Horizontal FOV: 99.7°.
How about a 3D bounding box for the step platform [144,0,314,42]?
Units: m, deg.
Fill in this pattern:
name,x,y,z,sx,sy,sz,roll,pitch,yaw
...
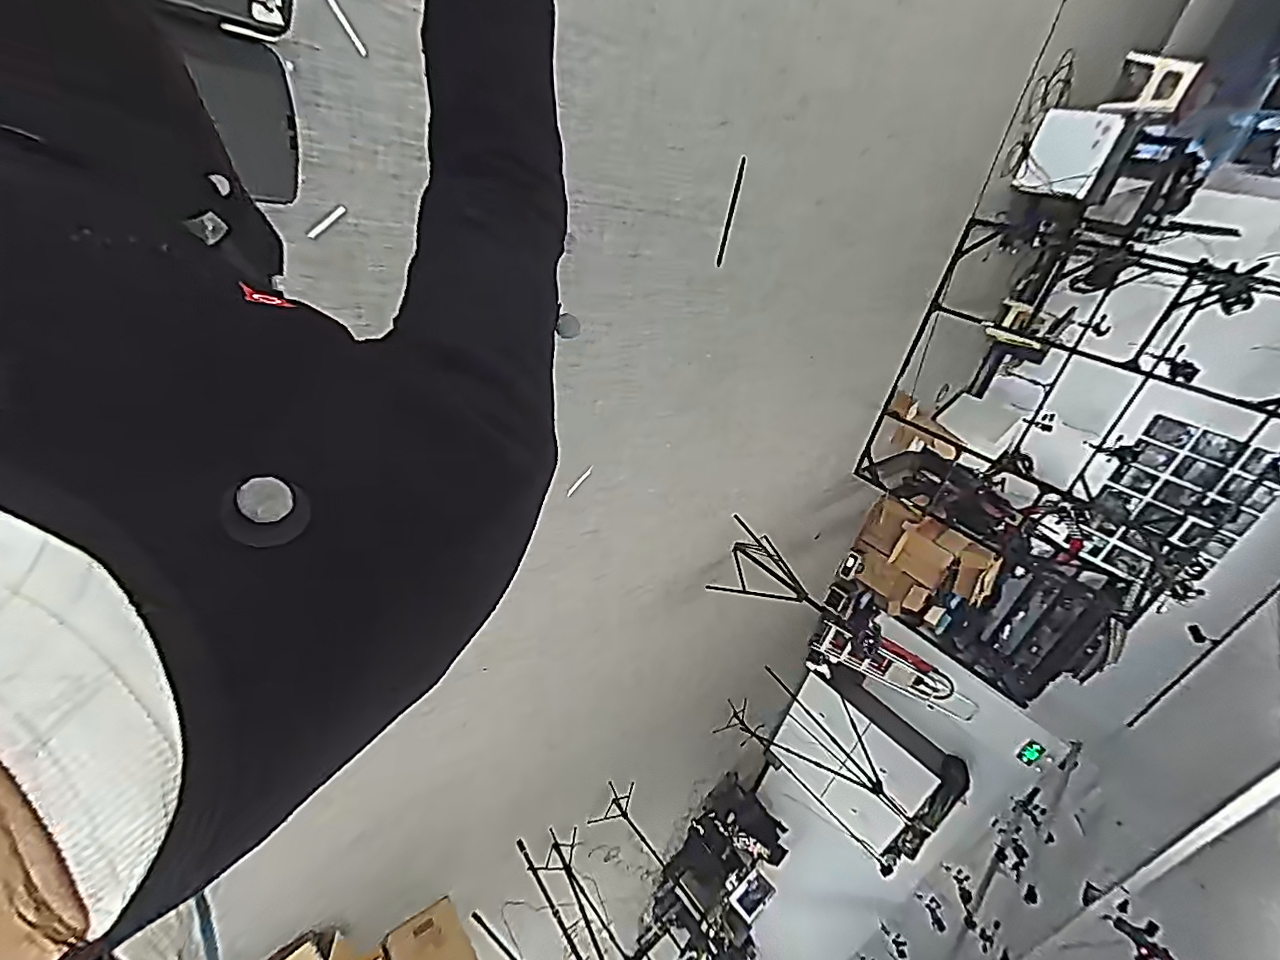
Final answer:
name,x,y,z,sx,sy,sz,roll,pitch,yaw
step platform,-0.858,-0.886,0.762,0.684,0.204,0.286,-17,132,-40
